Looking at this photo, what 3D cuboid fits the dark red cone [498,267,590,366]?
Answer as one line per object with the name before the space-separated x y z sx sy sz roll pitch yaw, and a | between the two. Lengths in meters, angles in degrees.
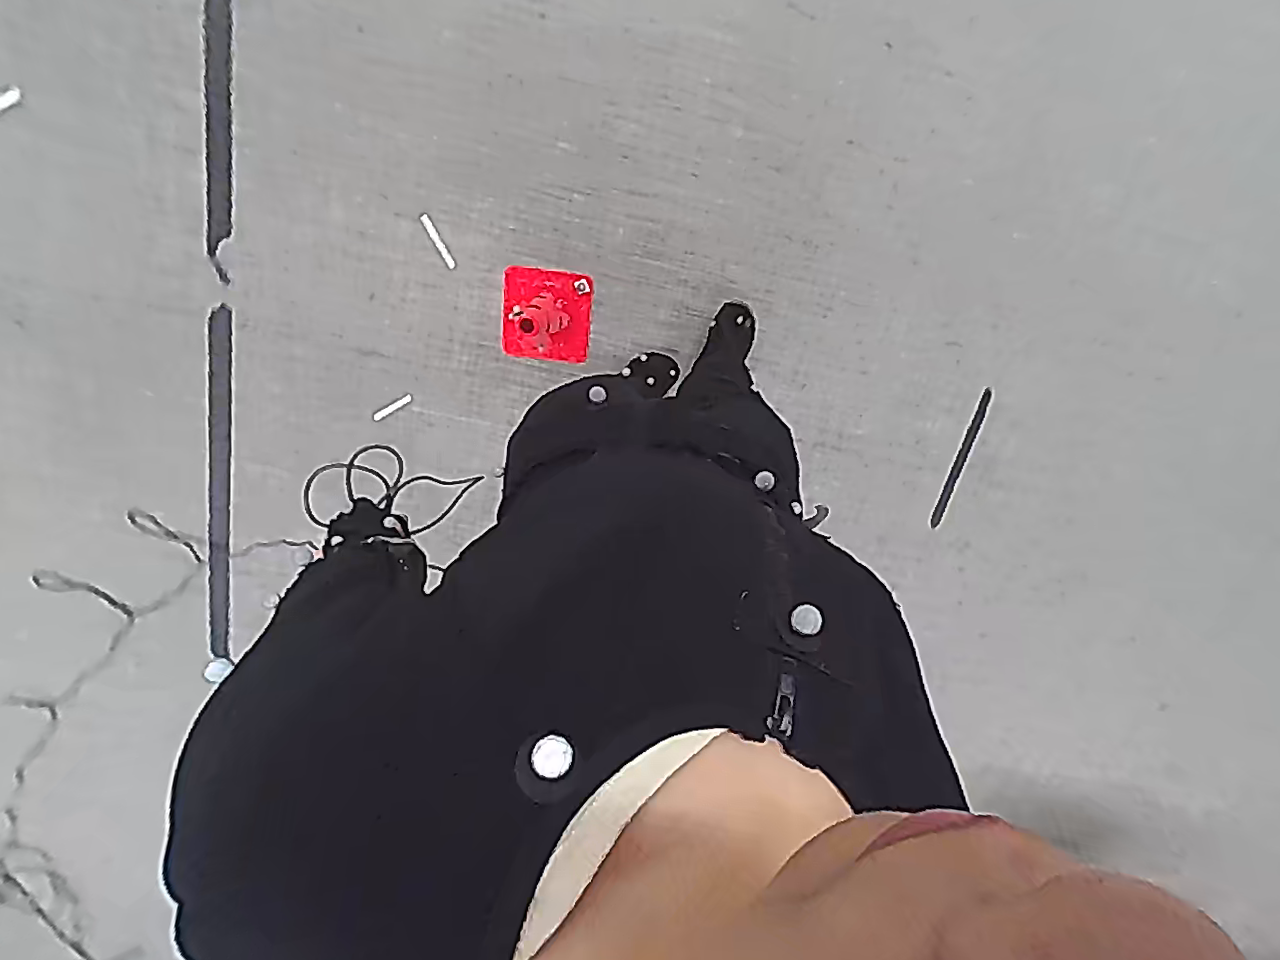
dark red cone | -0.208 -0.306 1.051 0.201 0.394 0.202 5 109 -4
